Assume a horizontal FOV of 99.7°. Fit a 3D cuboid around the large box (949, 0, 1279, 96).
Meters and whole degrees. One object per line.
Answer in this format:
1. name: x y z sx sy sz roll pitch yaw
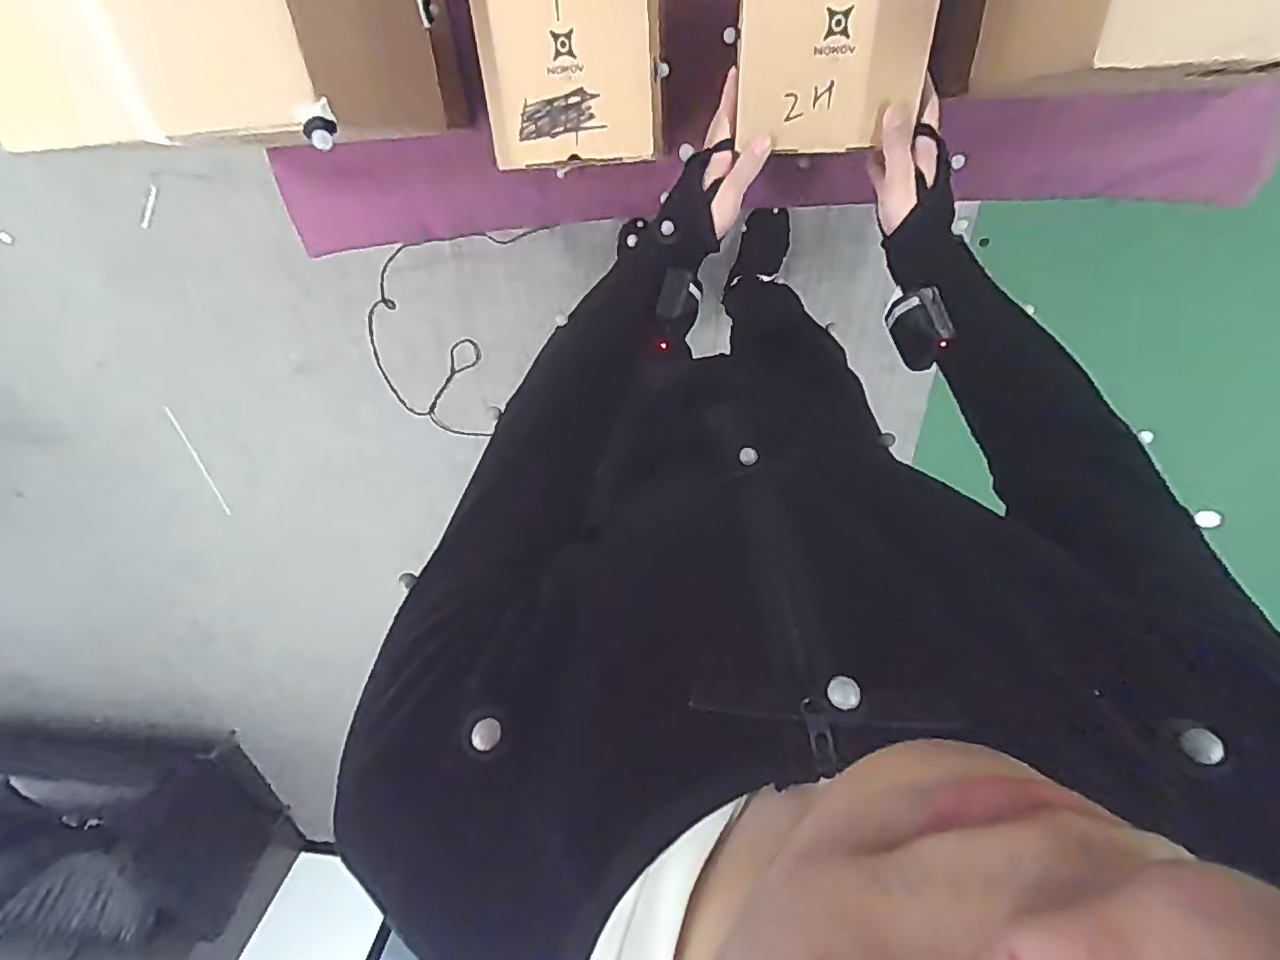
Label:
1. large box: 0.463 -0.520 0.362 0.320 0.320 0.408 2 123 8
